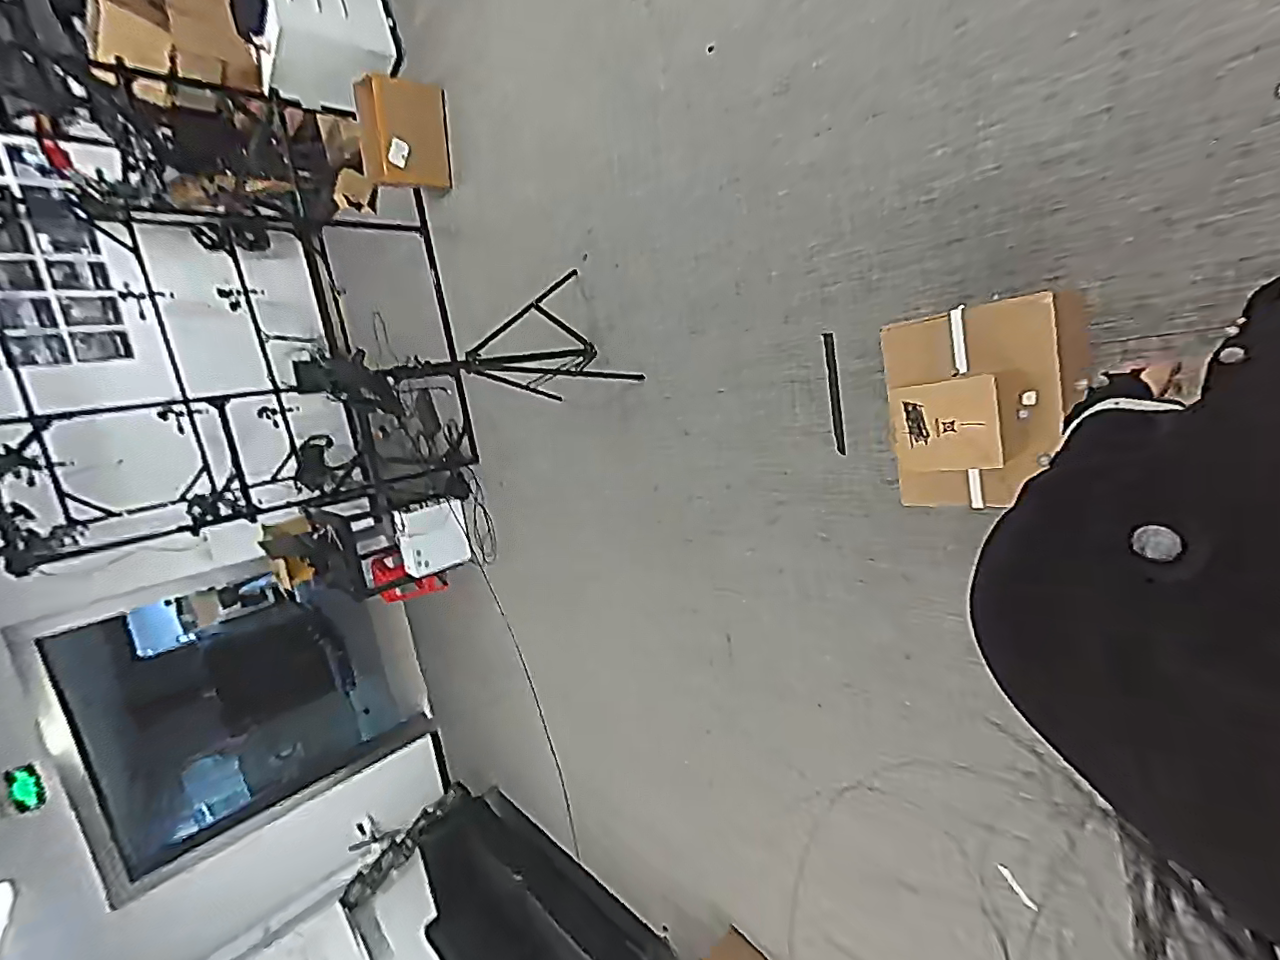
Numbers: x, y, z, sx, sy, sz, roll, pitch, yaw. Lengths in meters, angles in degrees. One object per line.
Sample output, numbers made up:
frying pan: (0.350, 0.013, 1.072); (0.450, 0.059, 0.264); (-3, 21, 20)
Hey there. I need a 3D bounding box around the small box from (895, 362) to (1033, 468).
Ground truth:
small box: (0.612, -0.122, 1.021); (0.179, 0.176, 0.168); (-3, 102, 48)
